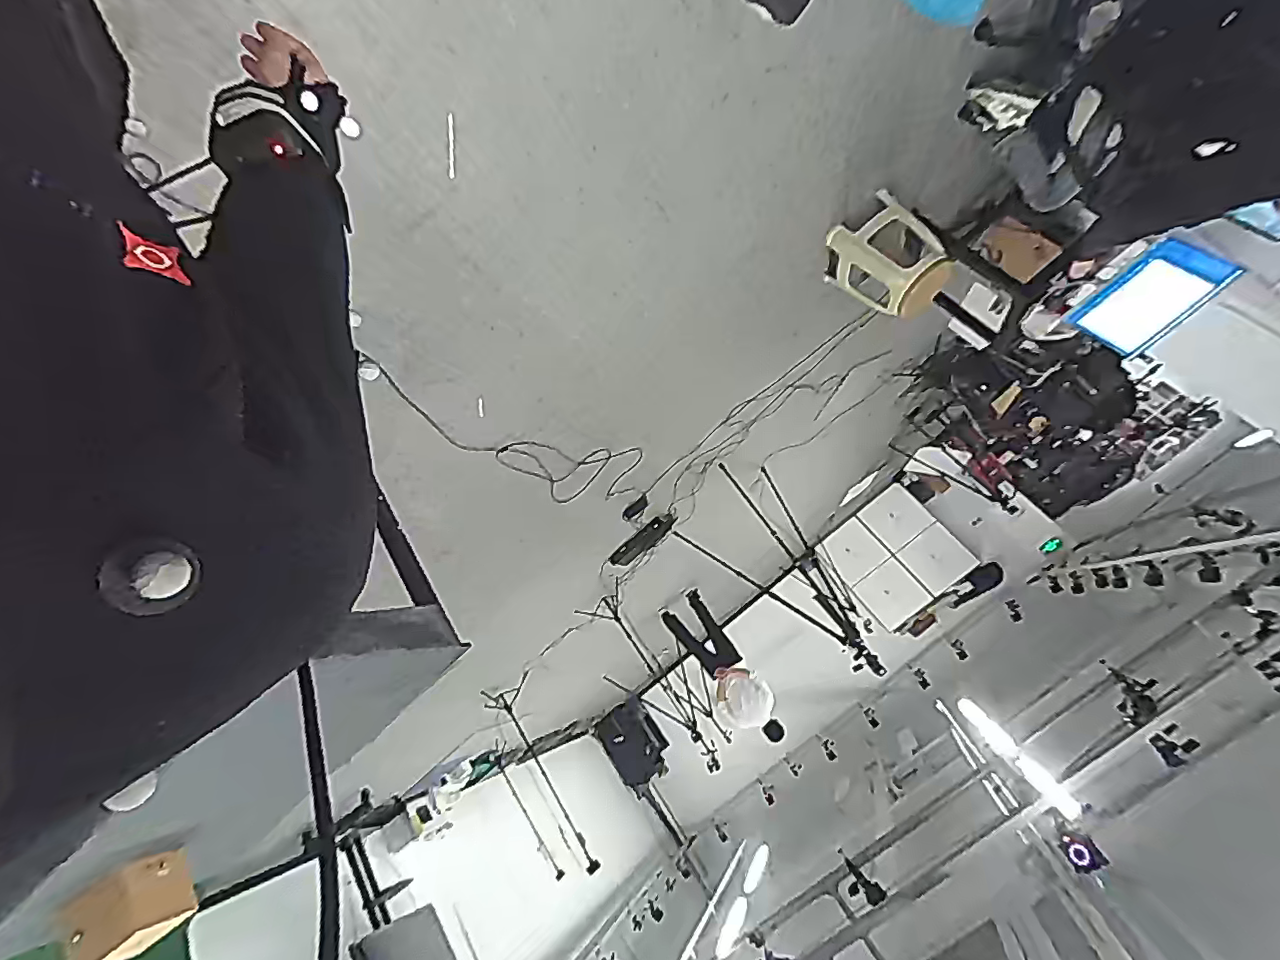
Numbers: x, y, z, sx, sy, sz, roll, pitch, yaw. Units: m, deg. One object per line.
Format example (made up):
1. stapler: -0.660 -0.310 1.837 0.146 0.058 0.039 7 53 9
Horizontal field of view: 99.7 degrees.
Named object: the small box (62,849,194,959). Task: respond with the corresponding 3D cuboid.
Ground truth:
1. small box: -1.291 1.081 1.363 0.179 0.176 0.168 -38 158 -6
